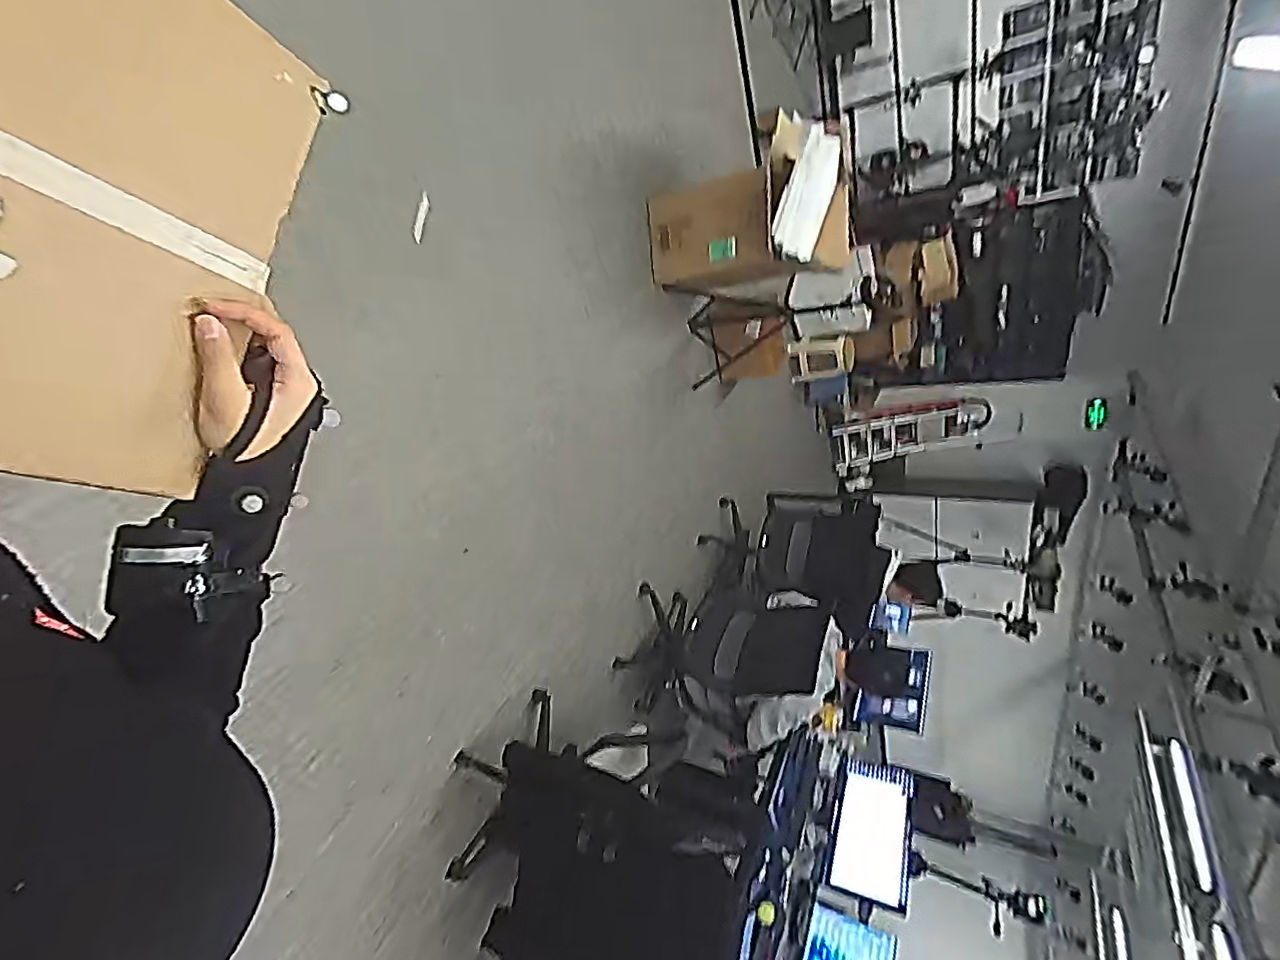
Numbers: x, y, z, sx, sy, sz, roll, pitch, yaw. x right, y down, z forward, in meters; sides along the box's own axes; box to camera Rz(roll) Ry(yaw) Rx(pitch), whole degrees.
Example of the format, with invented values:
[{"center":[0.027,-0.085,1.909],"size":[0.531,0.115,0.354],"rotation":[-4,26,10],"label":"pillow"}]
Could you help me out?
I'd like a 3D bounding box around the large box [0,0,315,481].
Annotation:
[{"center":[-0.494,-0.200,0.296],"size":[0.408,0.320,0.320],"rotation":[21,80,-57],"label":"large box"}]
